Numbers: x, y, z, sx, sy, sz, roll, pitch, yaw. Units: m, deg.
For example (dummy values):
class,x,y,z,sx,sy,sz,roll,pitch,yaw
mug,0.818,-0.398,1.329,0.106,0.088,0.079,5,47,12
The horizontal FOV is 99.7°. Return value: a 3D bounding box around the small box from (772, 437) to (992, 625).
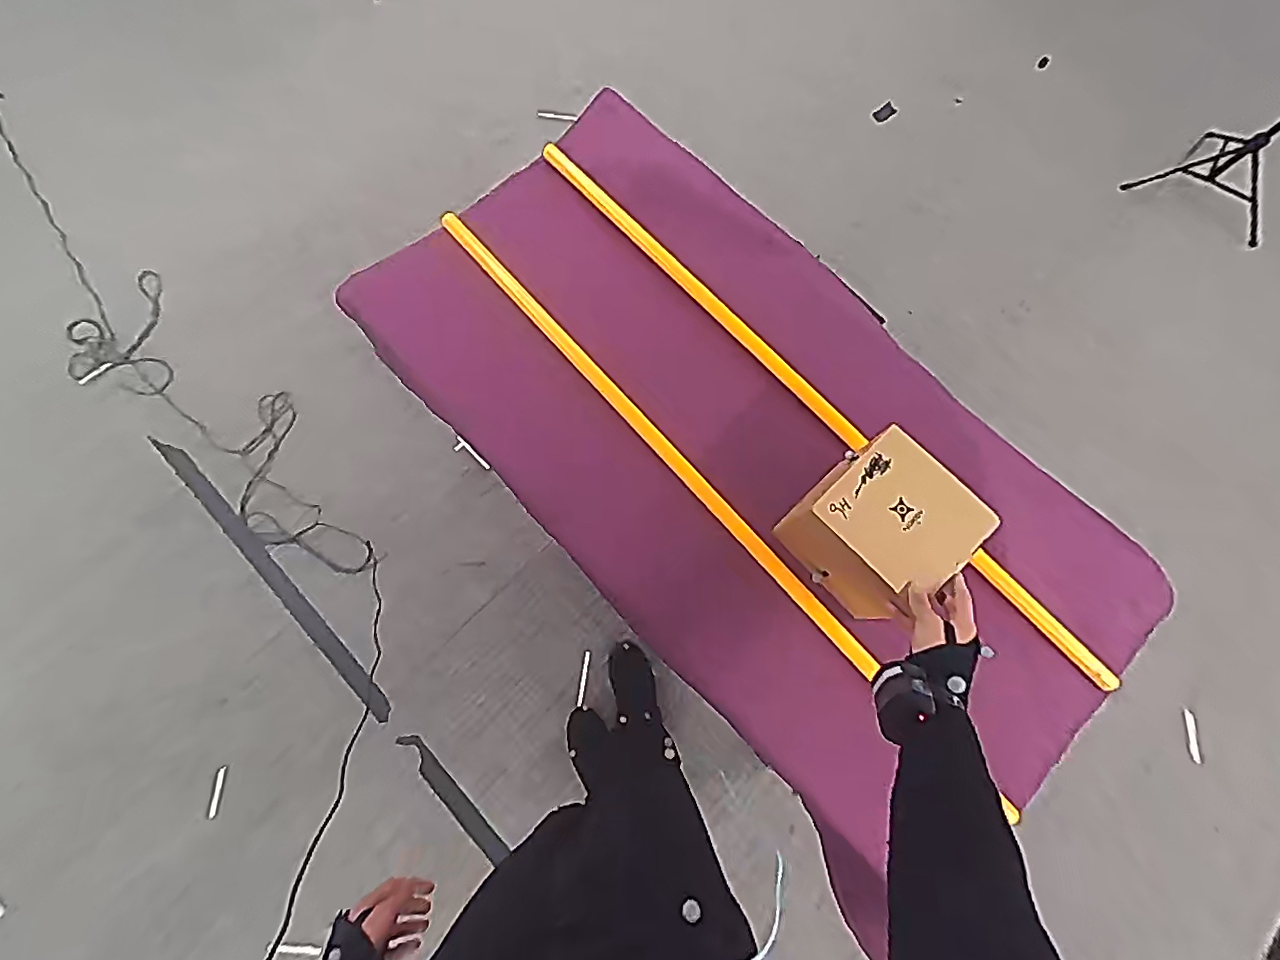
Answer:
class,x,y,z,sx,sy,sz,roll,pitch,yaw
small box,0.313,0.075,0.736,0.168,0.176,0.179,-41,81,-12
